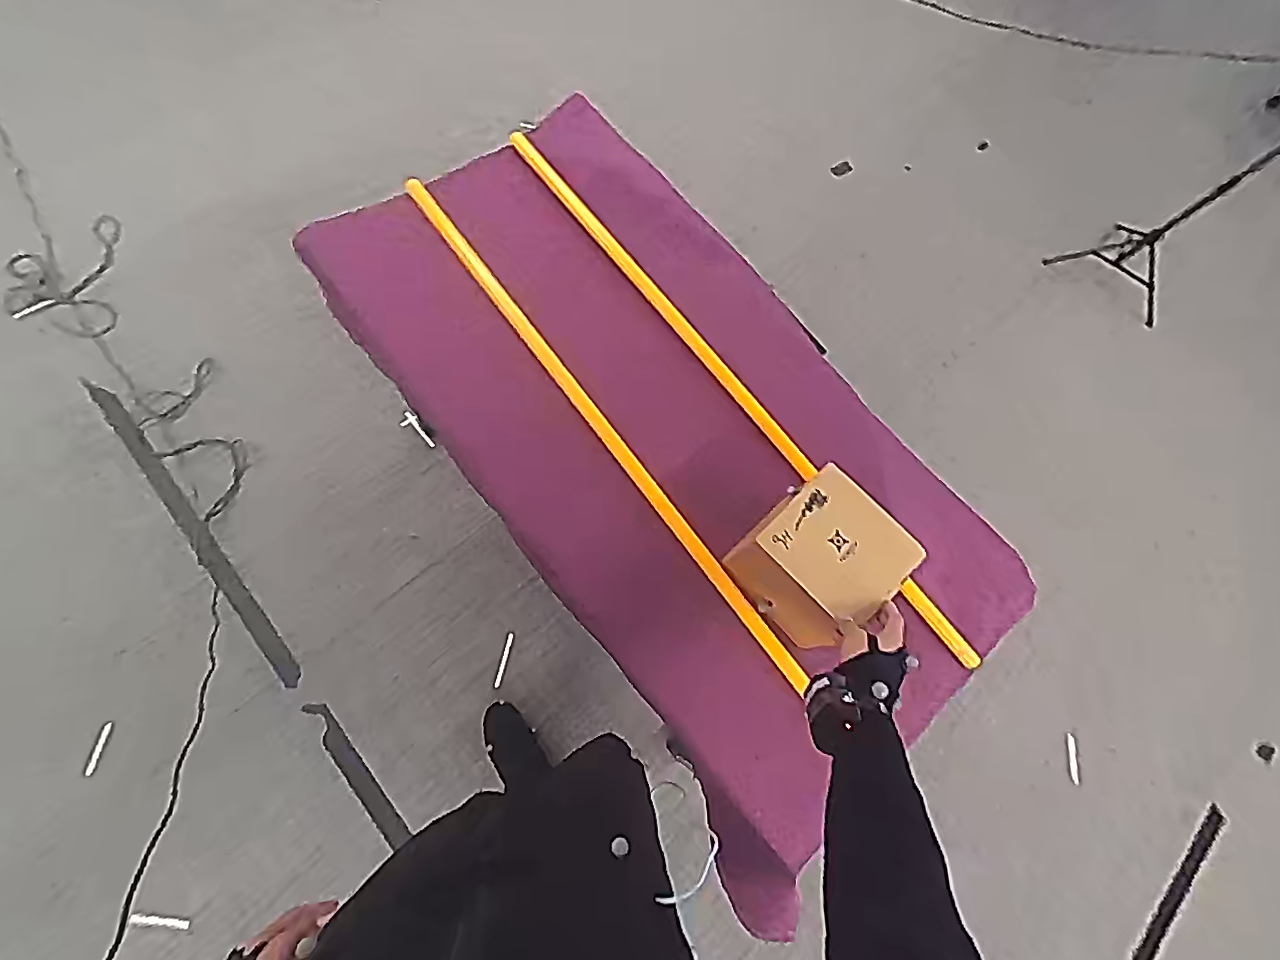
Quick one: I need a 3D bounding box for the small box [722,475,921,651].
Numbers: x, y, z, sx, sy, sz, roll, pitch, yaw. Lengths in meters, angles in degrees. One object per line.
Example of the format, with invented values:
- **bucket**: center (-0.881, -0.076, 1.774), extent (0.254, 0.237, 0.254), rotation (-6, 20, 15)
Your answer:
- **small box**: center (0.249, 0.126, 0.783), extent (0.168, 0.176, 0.179), rotation (-40, 81, -18)
